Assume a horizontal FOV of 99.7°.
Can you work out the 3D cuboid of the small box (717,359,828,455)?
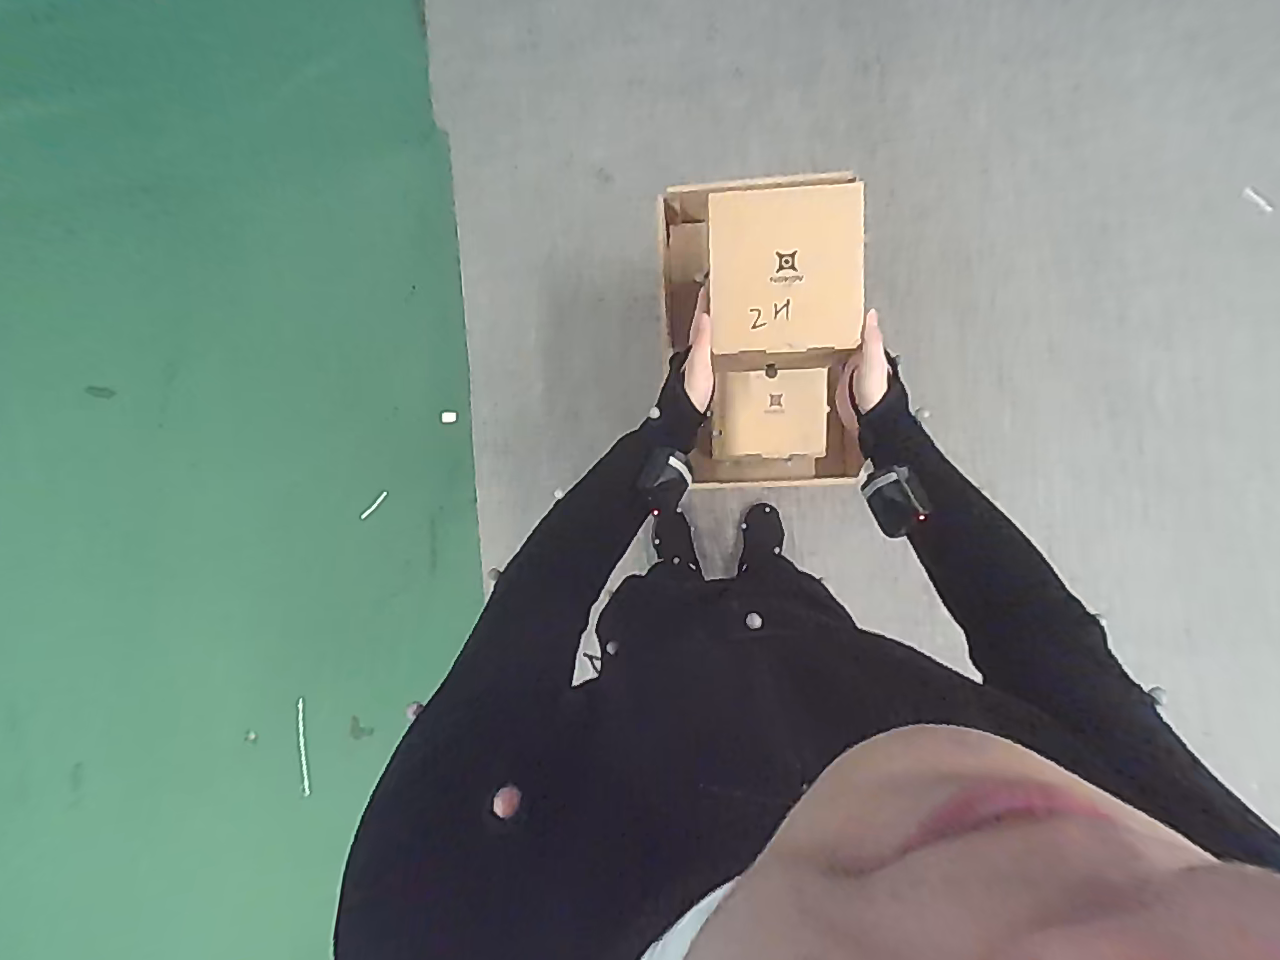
[{"bbox_3d":[0.227,-0.136,0.958,0.168,0.176,0.179,1,90,4],"label":"small box"}]

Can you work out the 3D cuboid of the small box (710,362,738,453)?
[{"bbox_3d":[0.232,-0.145,1.121,0.168,0.176,0.179,-1,89,5],"label":"small box"}]

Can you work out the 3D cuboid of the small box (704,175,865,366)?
[{"bbox_3d":[0.164,-0.240,0.659,0.168,0.176,0.179,0,95,6],"label":"small box"}]
